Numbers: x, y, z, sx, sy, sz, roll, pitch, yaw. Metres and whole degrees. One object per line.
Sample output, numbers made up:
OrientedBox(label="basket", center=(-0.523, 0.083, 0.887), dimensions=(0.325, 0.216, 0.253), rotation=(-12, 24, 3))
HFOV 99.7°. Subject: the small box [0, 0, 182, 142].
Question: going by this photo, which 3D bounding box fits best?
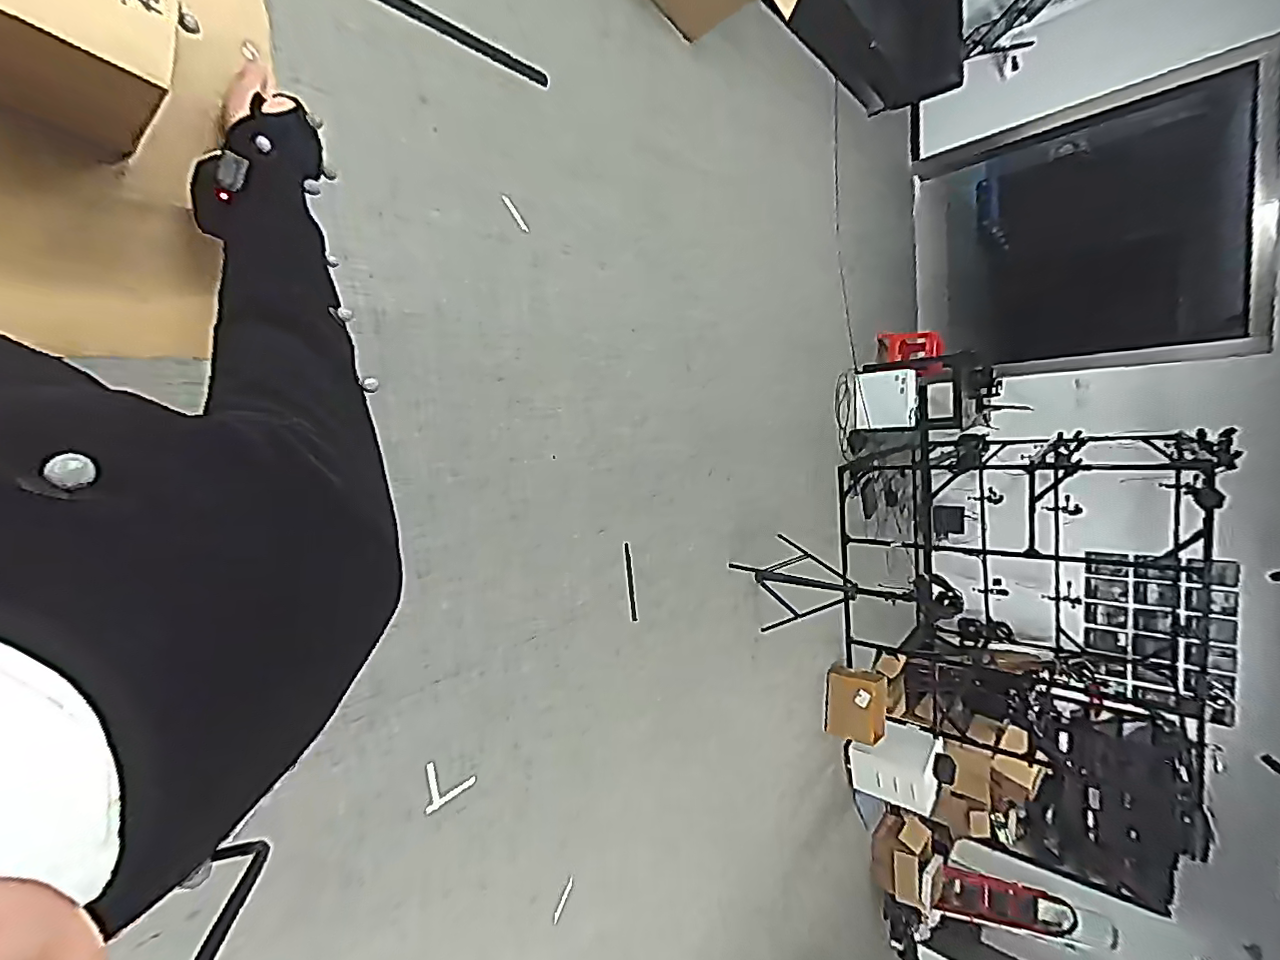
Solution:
OrientedBox(label="small box", center=(-0.445, -0.377, 0.378), dimensions=(0.179, 0.176, 0.168), rotation=(6, 92, -49))
